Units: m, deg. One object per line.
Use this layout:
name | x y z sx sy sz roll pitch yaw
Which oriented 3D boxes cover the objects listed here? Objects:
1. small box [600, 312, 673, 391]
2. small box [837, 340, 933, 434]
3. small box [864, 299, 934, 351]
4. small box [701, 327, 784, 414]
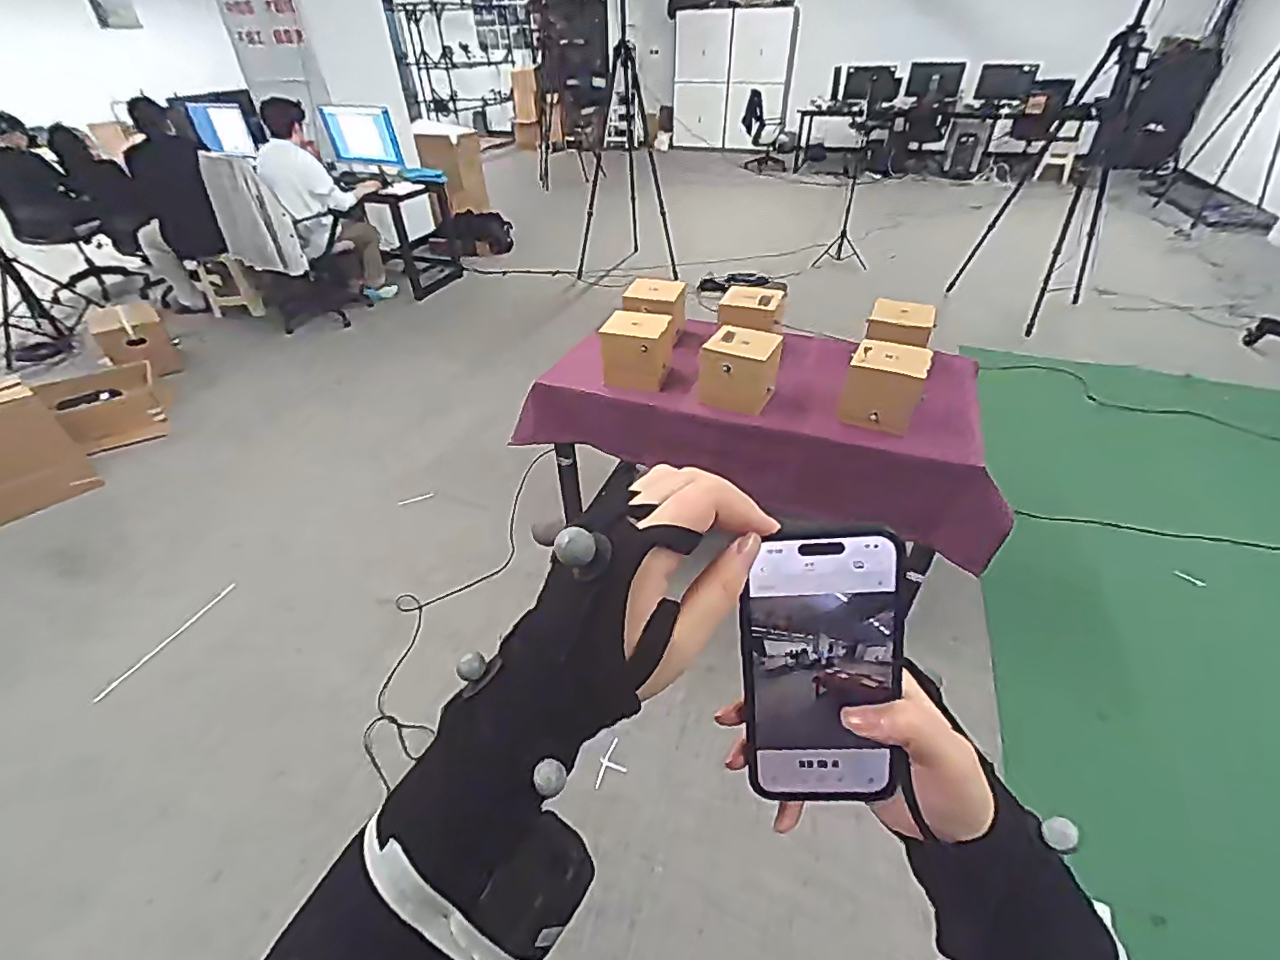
small box | -0.008 -0.379 1.596 0.179 0.176 0.168 10 40 12
small box | 0.633 -0.240 1.404 0.179 0.176 0.168 19 43 22
small box | 0.765 -0.421 1.623 0.168 0.176 0.179 16 43 21
small box | 0.278 -0.302 1.491 0.179 0.176 0.168 18 43 21
